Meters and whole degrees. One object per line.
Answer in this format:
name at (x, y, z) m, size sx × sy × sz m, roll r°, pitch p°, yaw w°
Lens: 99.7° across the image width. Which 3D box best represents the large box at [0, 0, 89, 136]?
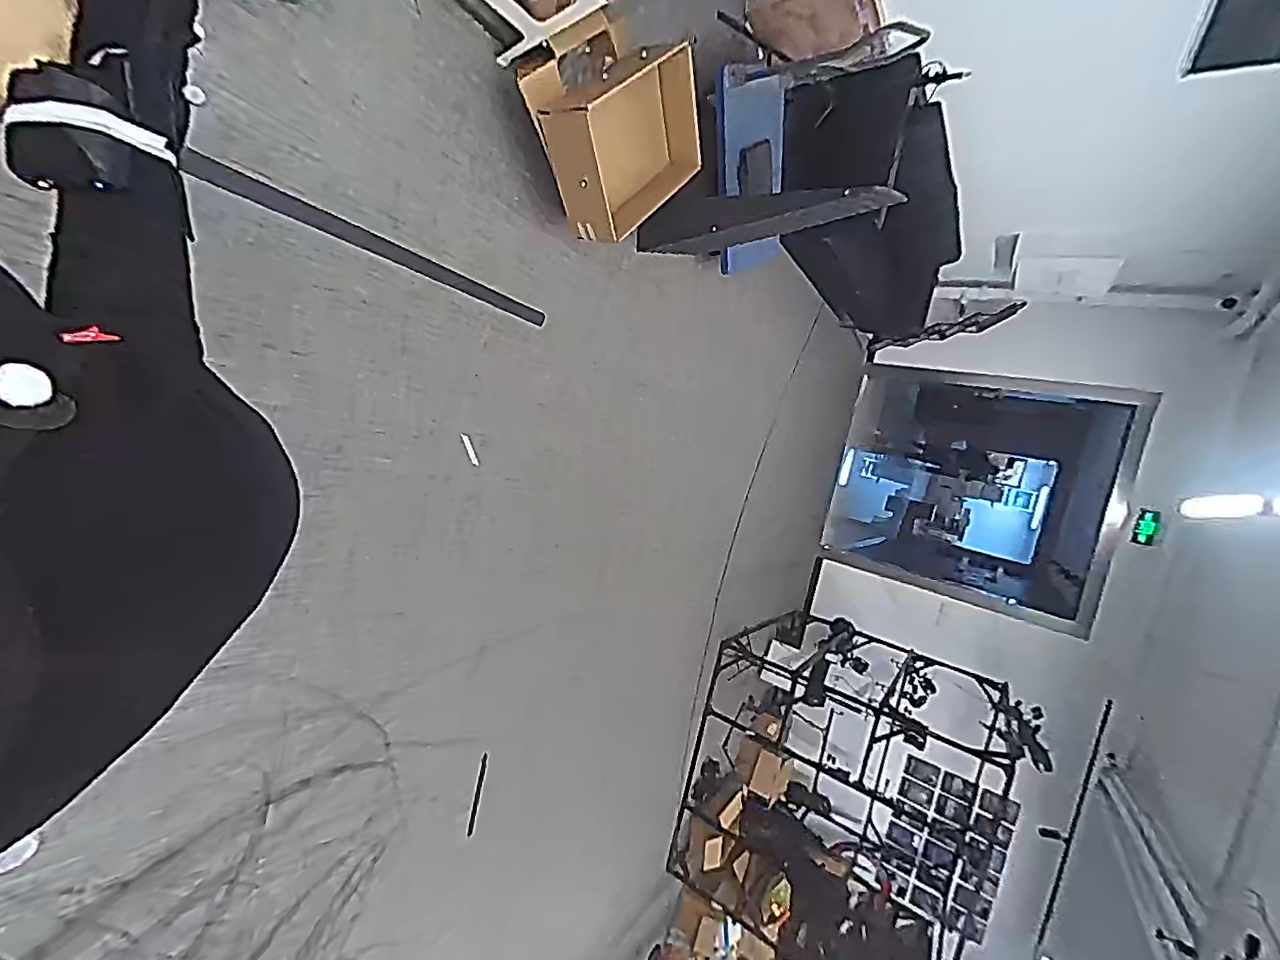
large box at (-0.607, -0.428, 0.266) m, size 0.408 × 0.320 × 0.320 m, roll -12°, pitch 122°, yaw -60°
